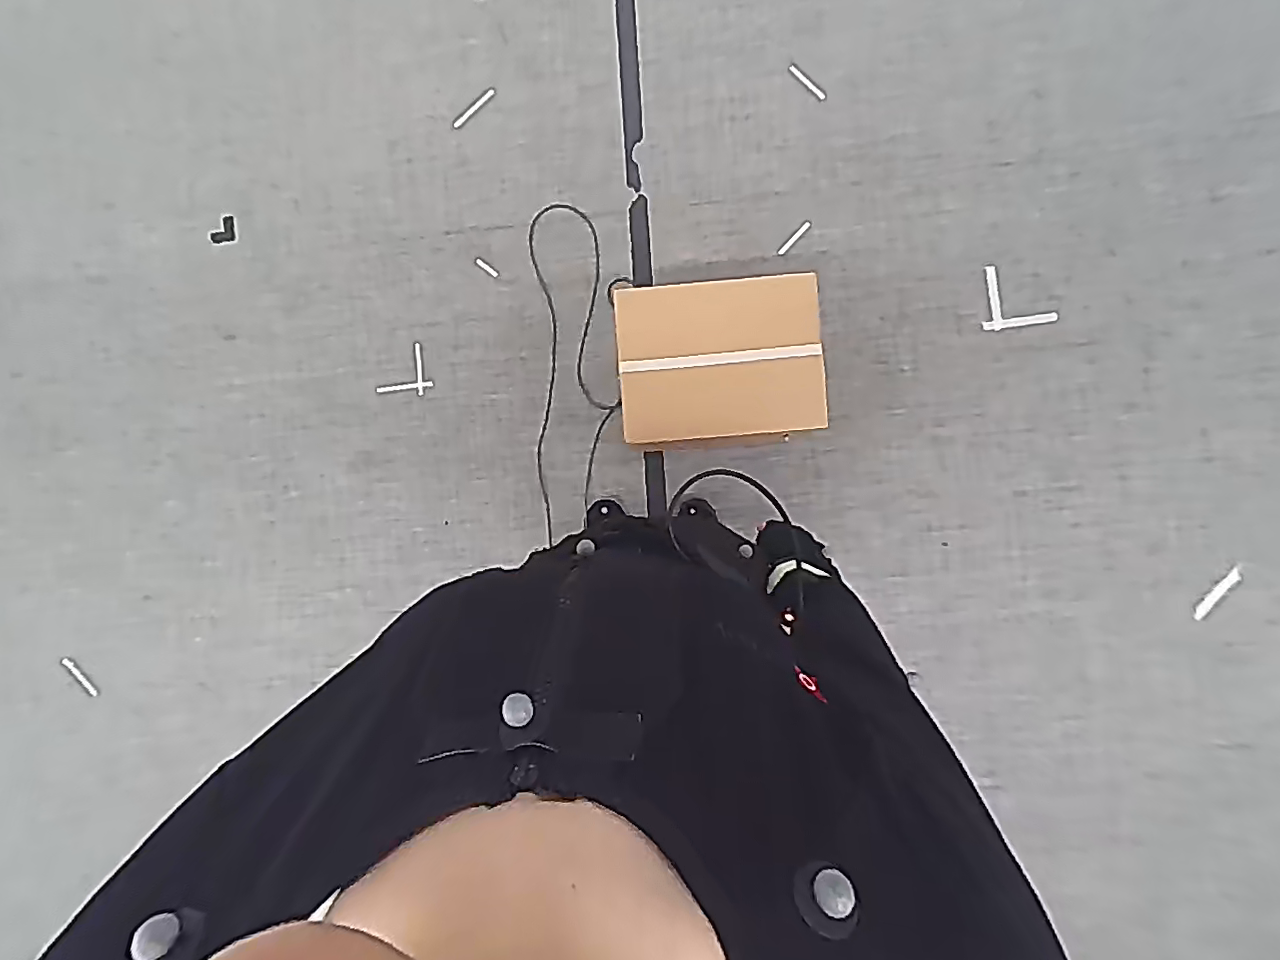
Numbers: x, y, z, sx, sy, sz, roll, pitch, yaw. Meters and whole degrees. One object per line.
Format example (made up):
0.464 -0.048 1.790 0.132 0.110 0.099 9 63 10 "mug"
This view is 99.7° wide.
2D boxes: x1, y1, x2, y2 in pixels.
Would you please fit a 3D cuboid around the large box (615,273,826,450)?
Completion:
0.168 -0.243 1.231 0.408 0.320 0.320 -5 89 3 "large box"
